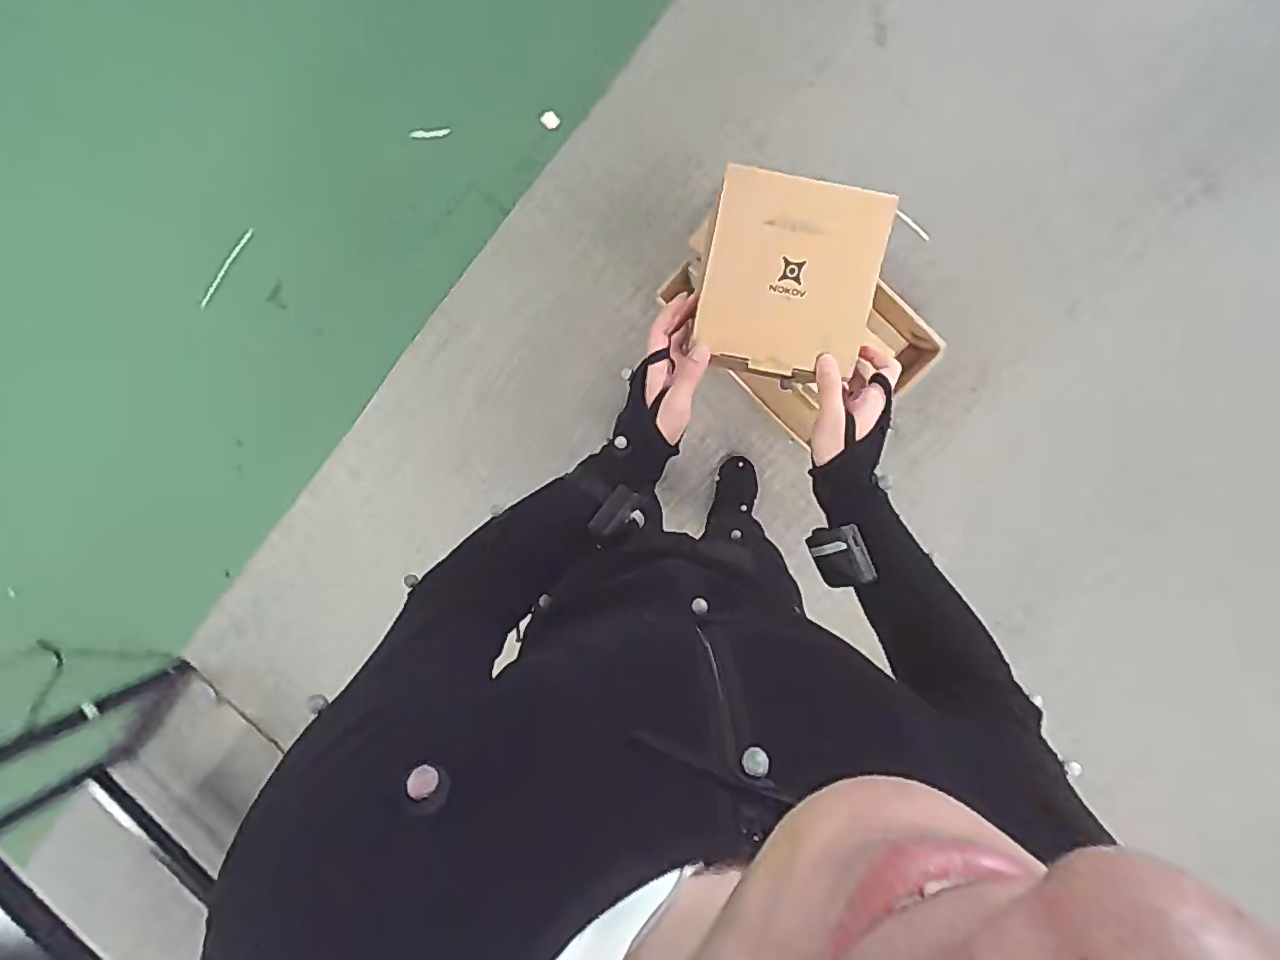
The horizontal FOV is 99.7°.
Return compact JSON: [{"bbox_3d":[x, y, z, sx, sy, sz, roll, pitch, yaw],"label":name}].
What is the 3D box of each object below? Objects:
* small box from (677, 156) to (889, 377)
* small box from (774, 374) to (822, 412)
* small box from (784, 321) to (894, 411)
[{"bbox_3d":[0.136,-0.212,0.587,0.168,0.176,0.179,10,100,-1],"label":"small box"},{"bbox_3d":[0.452,-0.288,1.375,0.179,0.176,0.168,-43,89,11],"label":"small box"},{"bbox_3d":[0.424,-0.268,1.213,0.179,0.176,0.168,43,102,2],"label":"small box"}]
